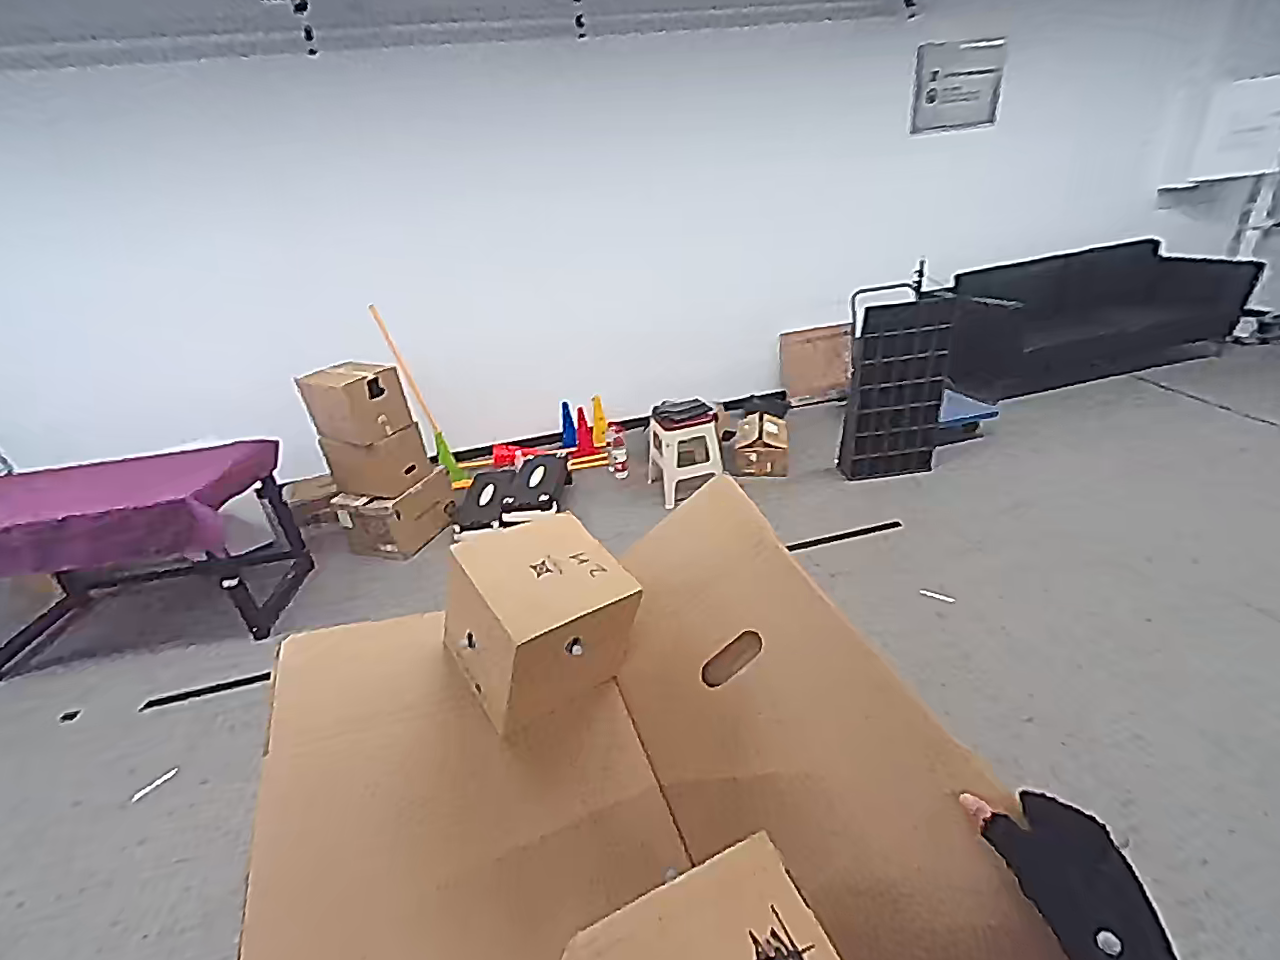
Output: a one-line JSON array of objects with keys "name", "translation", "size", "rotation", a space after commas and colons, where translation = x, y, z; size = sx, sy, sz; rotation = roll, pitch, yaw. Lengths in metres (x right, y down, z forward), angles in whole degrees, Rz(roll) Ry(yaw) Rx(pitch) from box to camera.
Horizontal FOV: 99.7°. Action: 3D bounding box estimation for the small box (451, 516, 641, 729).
[{"name": "small box", "translation": [-0.127, 0.177, 0.690], "size": [0.179, 0.176, 0.168], "rotation": [-14, 43, -39]}]
